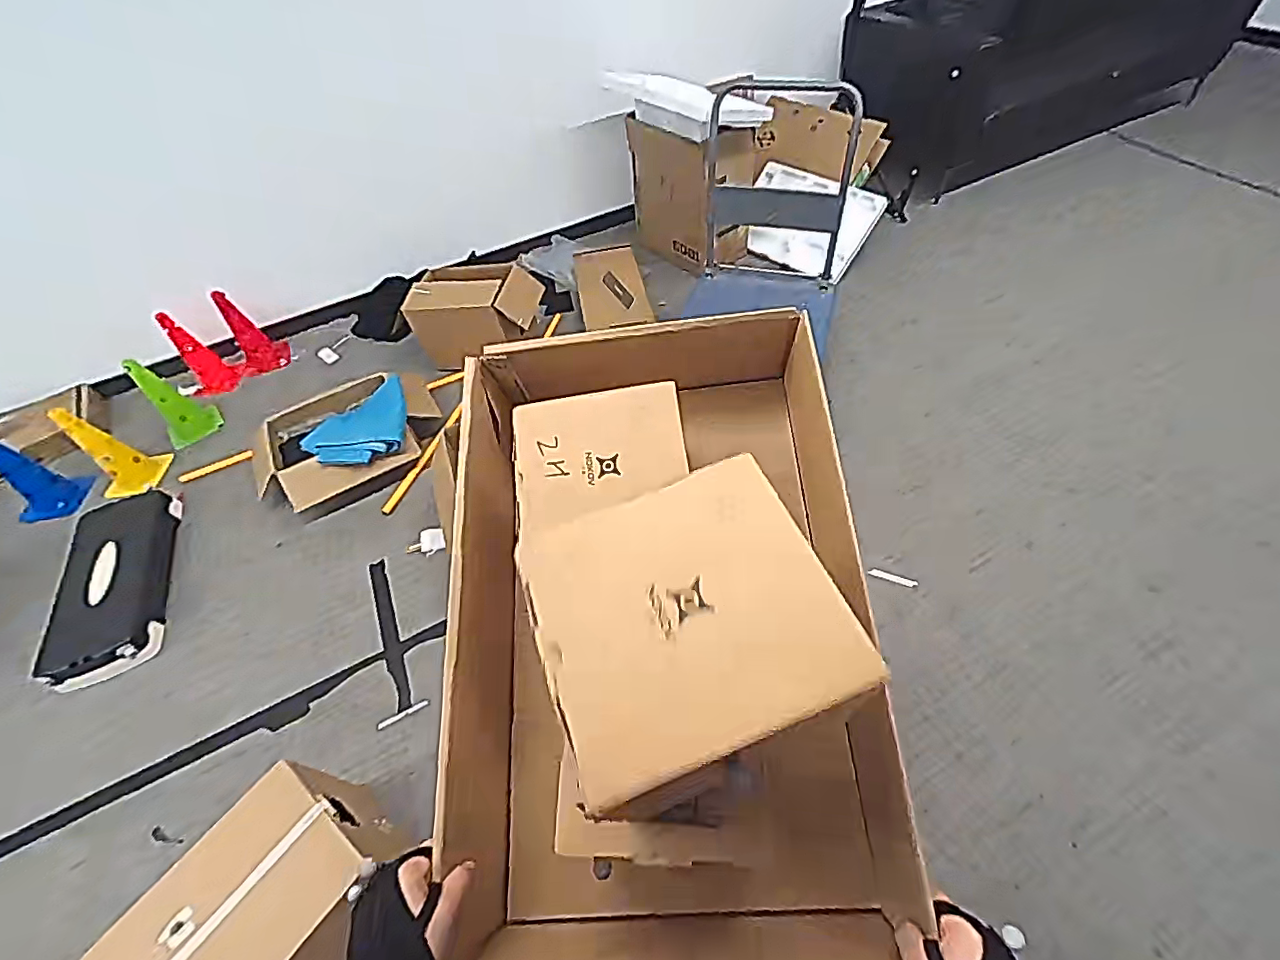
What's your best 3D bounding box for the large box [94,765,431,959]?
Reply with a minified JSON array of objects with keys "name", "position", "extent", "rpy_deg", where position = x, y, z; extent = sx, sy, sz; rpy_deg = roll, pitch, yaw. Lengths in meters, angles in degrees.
[{"name":"large box","position":[-0.716,0.871,1.083],"extent":[0.320,0.320,0.408],"rpy_deg":[27,60,26]}]
